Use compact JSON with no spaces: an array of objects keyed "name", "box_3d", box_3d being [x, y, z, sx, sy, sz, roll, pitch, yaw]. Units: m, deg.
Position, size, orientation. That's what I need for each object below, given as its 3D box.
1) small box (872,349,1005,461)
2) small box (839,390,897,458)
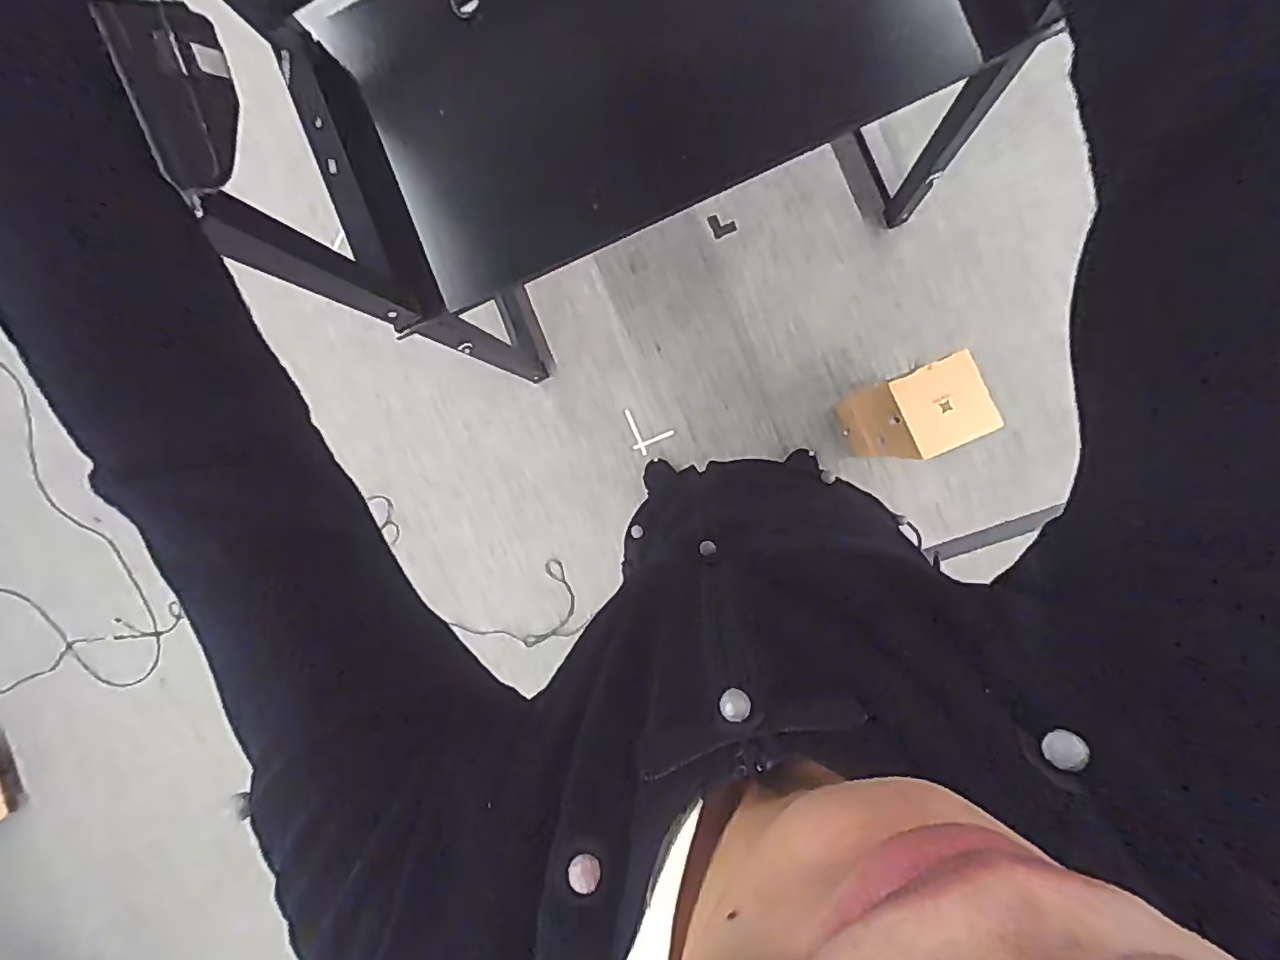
[{"name":"small box","box_3d":[0.626,-0.154,1.155,0.168,0.176,0.179,-25,88,9]},{"name":"small box","box_3d":[0.671,-0.169,1.479,0.179,0.176,0.168,-24,88,9]}]
